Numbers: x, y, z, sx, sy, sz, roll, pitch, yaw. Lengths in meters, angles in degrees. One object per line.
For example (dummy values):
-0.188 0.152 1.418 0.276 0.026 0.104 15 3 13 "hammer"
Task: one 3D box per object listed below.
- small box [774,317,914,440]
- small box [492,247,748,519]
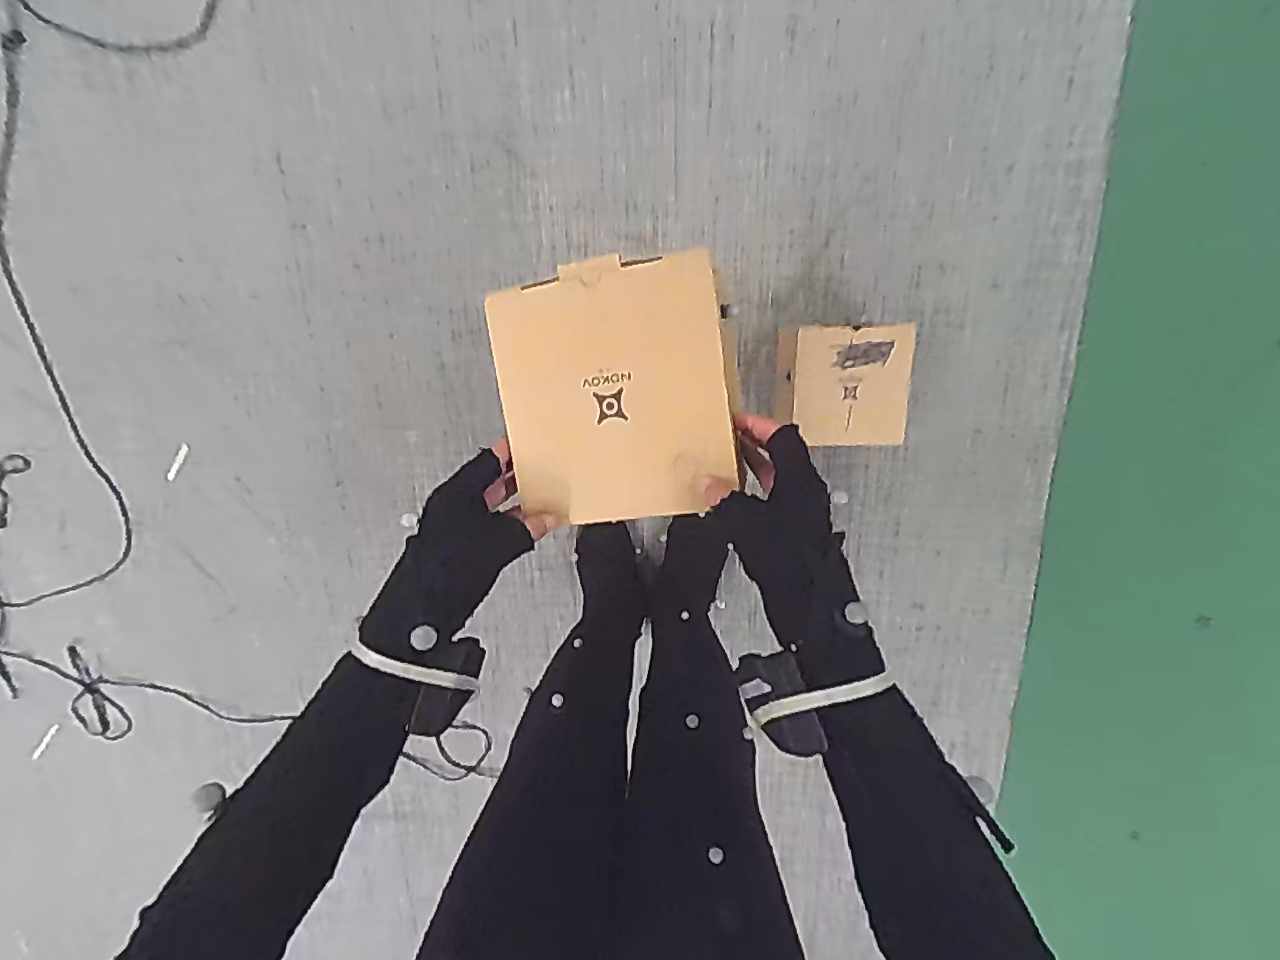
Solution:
0.311 -0.164 0.860 0.168 0.176 0.179 0 106 5 "small box"
0.000 -0.077 0.463 0.168 0.176 0.179 -7 99 13 "small box"
